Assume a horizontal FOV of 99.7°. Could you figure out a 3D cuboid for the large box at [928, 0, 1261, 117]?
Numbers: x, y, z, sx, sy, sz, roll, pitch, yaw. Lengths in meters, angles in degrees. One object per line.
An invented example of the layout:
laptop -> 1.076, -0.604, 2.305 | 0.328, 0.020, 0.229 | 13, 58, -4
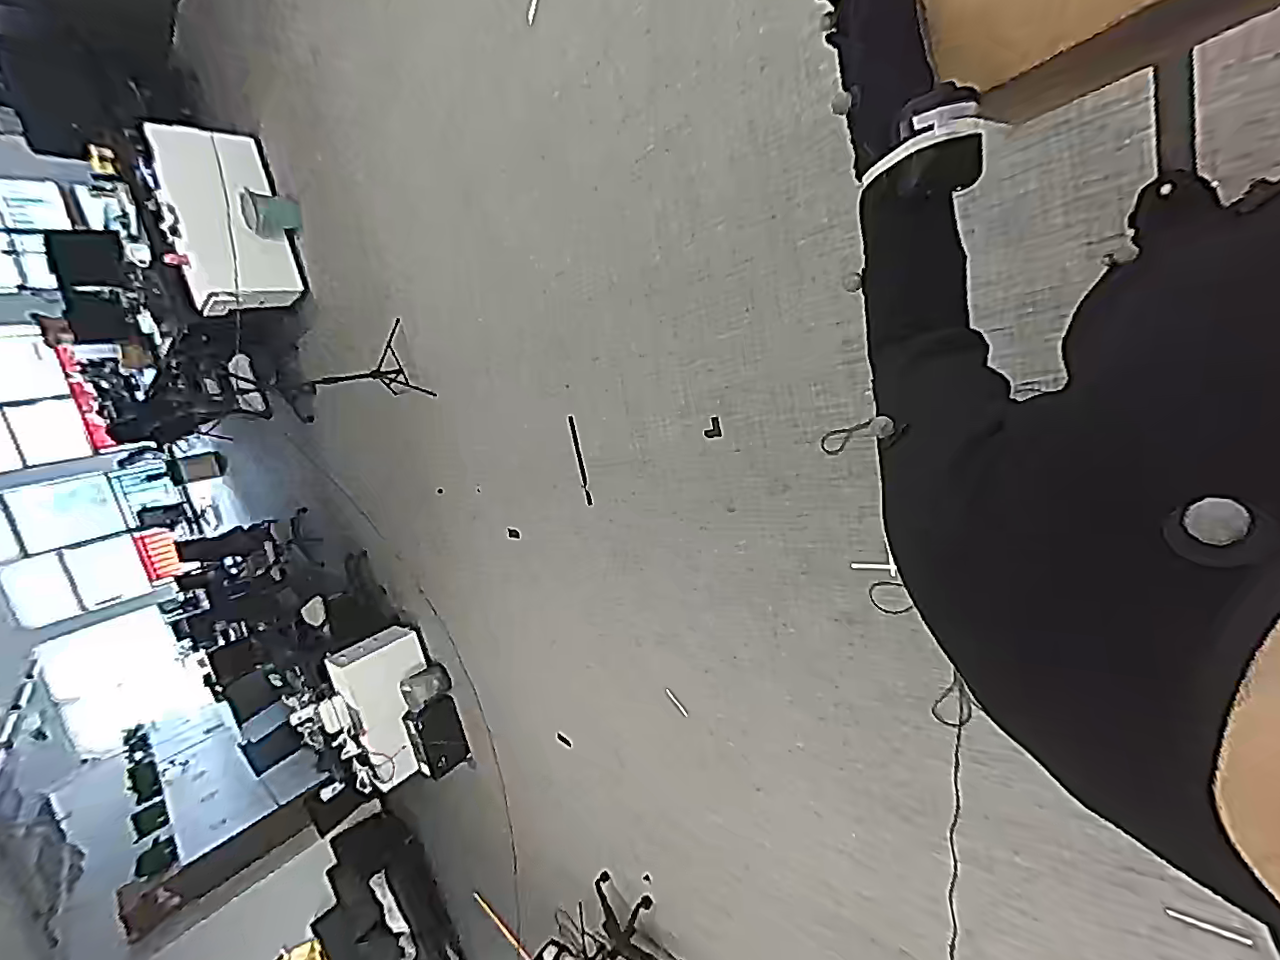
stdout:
large box -> 0.418, -0.513, 0.349 | 0.408, 0.320, 0.320 | -7, 109, 46
